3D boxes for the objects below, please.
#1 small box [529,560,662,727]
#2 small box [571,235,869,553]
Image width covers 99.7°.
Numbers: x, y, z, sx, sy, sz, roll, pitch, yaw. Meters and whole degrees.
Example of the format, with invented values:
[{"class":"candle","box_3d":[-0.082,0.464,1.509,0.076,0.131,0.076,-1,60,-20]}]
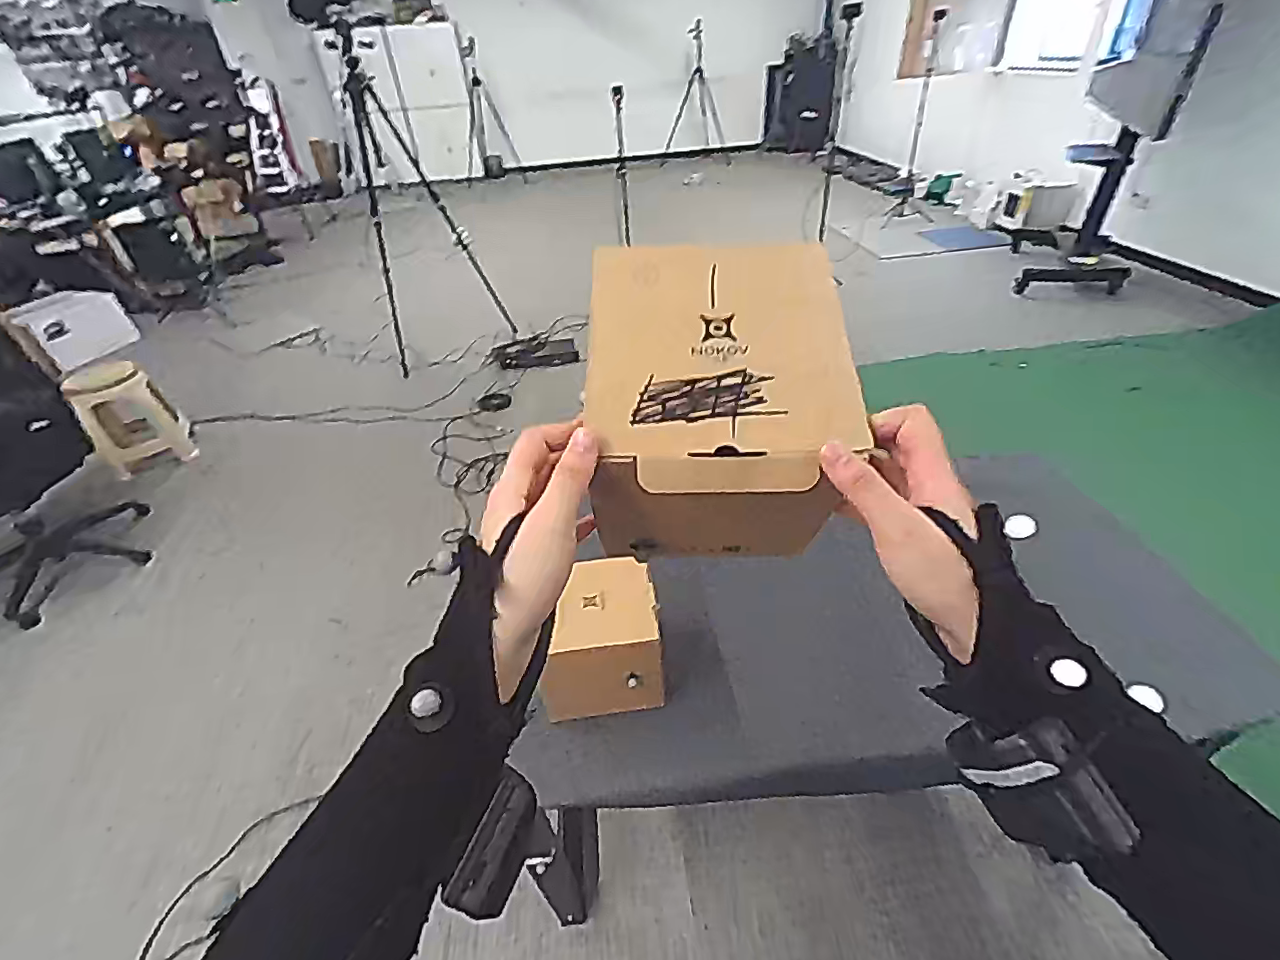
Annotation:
[{"class":"small box","box_3d":[-0.063,0.249,0.825,0.179,0.176,0.168,-8,36,-3]},{"class":"small box","box_3d":[0.048,-0.050,0.402,0.168,0.176,0.179,-1,63,2]}]
